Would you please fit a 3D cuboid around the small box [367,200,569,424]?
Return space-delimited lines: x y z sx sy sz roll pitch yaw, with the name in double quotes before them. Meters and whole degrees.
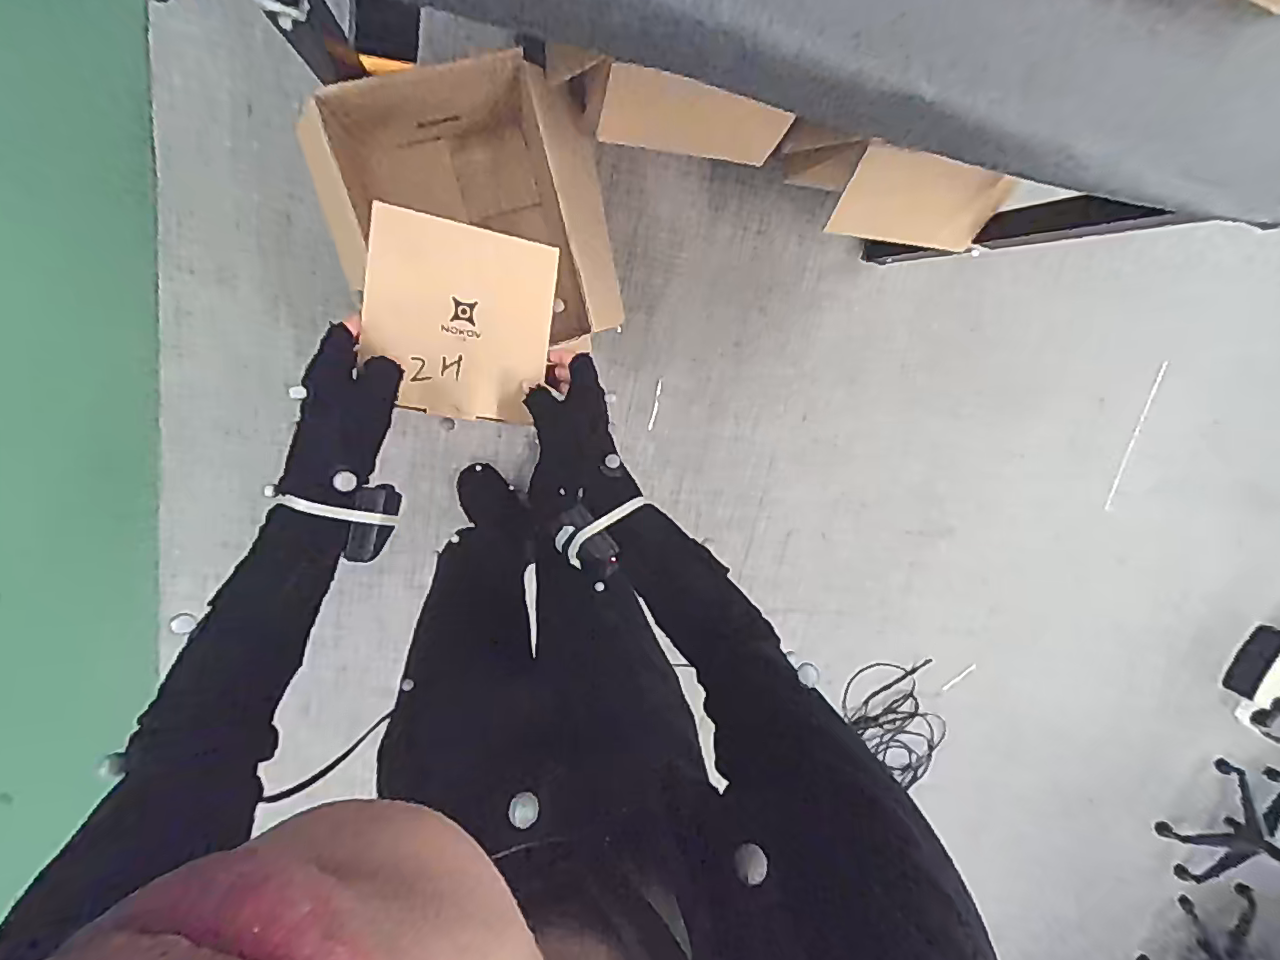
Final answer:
"small box" -0.182 -0.157 0.575 0.168 0.176 0.179 6 94 -20
